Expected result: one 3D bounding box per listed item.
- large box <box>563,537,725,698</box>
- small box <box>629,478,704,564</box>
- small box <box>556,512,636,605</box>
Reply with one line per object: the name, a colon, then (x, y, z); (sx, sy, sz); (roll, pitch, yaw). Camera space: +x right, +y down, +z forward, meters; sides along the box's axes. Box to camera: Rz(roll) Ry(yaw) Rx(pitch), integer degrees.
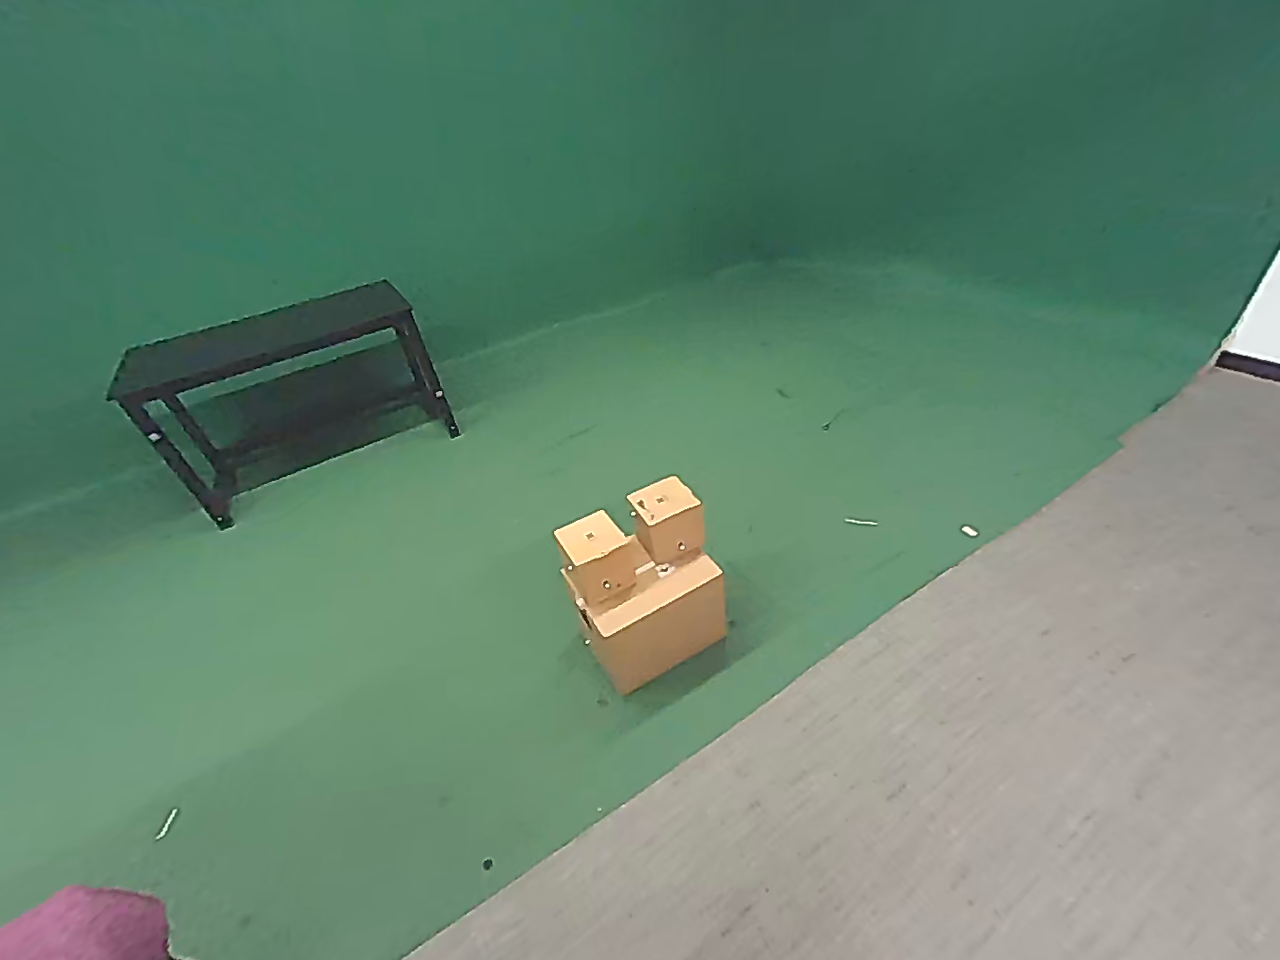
large box: (0.020, 0.402, 1.723); (0.408, 0.320, 0.320); (-24, 40, -19)
small box: (0.085, 0.126, 1.661); (0.179, 0.176, 0.168); (-21, 38, -15)
small box: (-0.127, 0.228, 1.577); (0.168, 0.176, 0.179); (-24, 39, -19)
